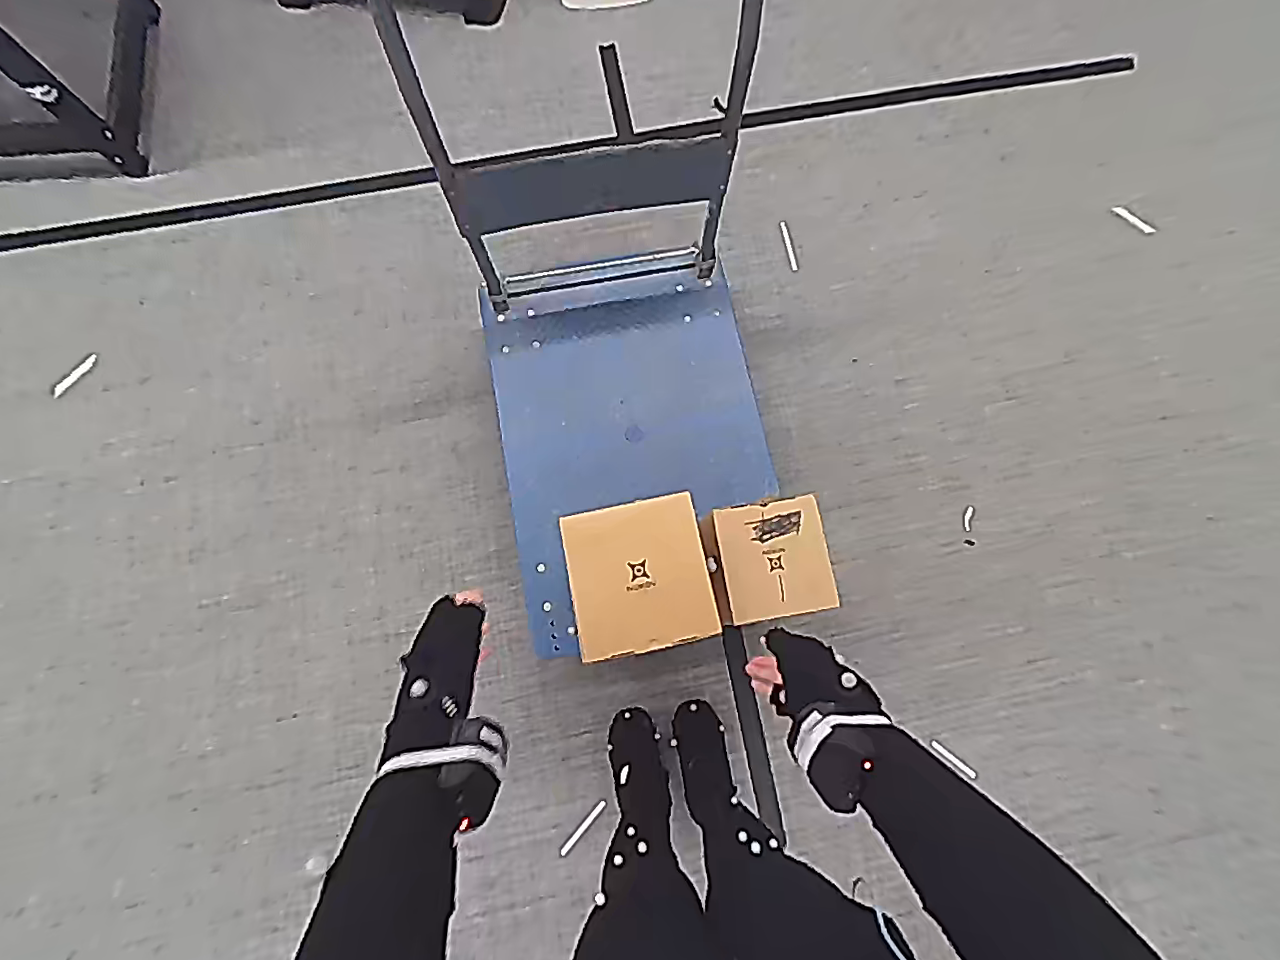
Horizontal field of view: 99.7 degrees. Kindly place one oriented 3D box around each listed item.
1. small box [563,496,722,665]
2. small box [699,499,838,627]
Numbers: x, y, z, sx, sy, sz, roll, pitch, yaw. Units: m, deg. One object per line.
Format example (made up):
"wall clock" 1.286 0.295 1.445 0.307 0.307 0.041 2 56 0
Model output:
"small box" -0.003 0.135 0.724 0.168 0.176 0.179 -12 79 -5
"small box" 0.200 0.140 0.897 0.168 0.176 0.179 -9 79 -4
